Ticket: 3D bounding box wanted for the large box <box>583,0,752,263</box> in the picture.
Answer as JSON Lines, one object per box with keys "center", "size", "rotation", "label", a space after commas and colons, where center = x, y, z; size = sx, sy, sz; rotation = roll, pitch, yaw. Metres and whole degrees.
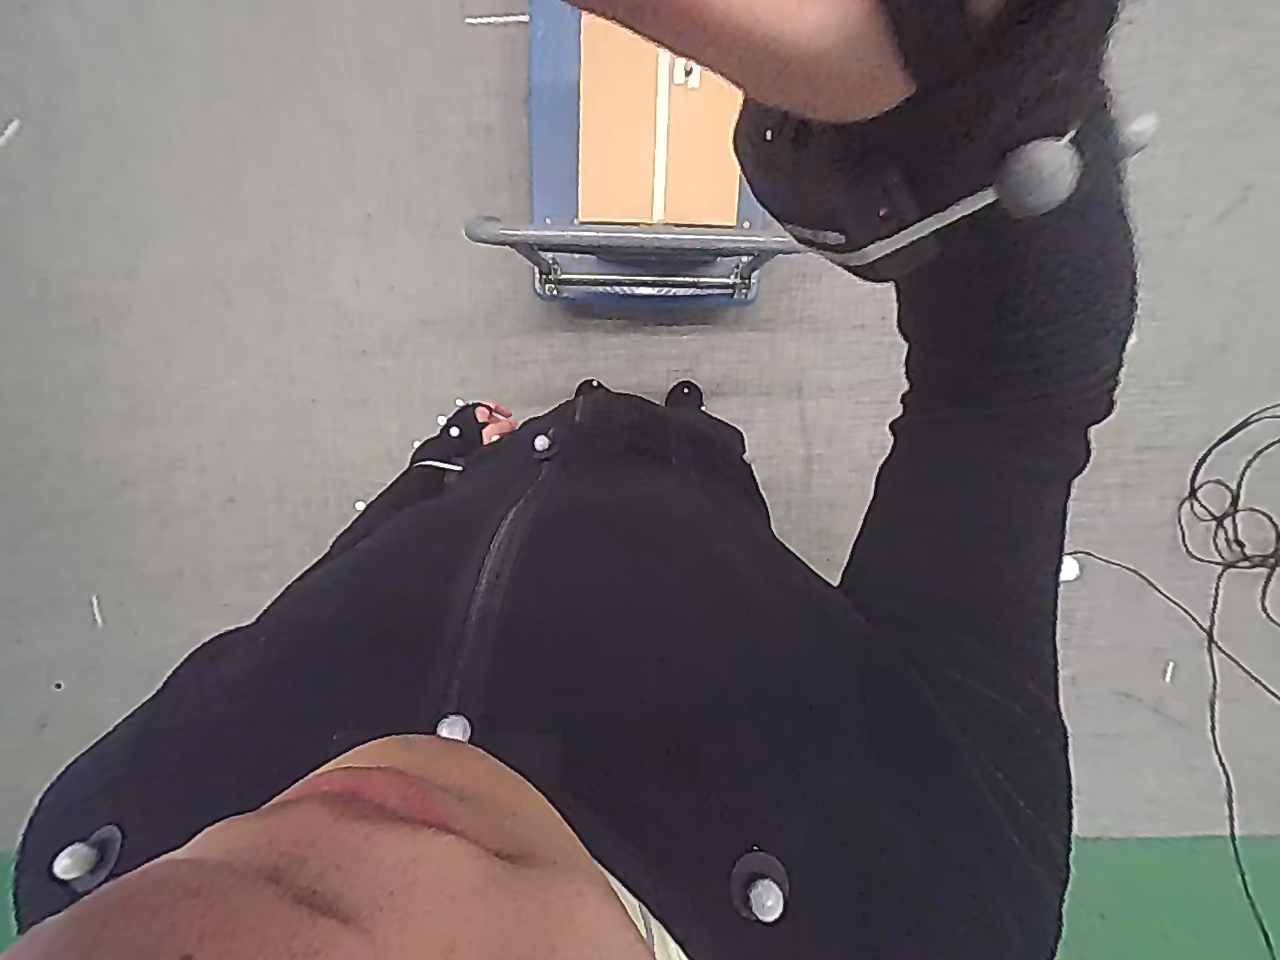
{"center": [0.053, -0.710, 1.163], "size": [0.320, 0.320, 0.408], "rotation": [2, 99, 1], "label": "large box"}
